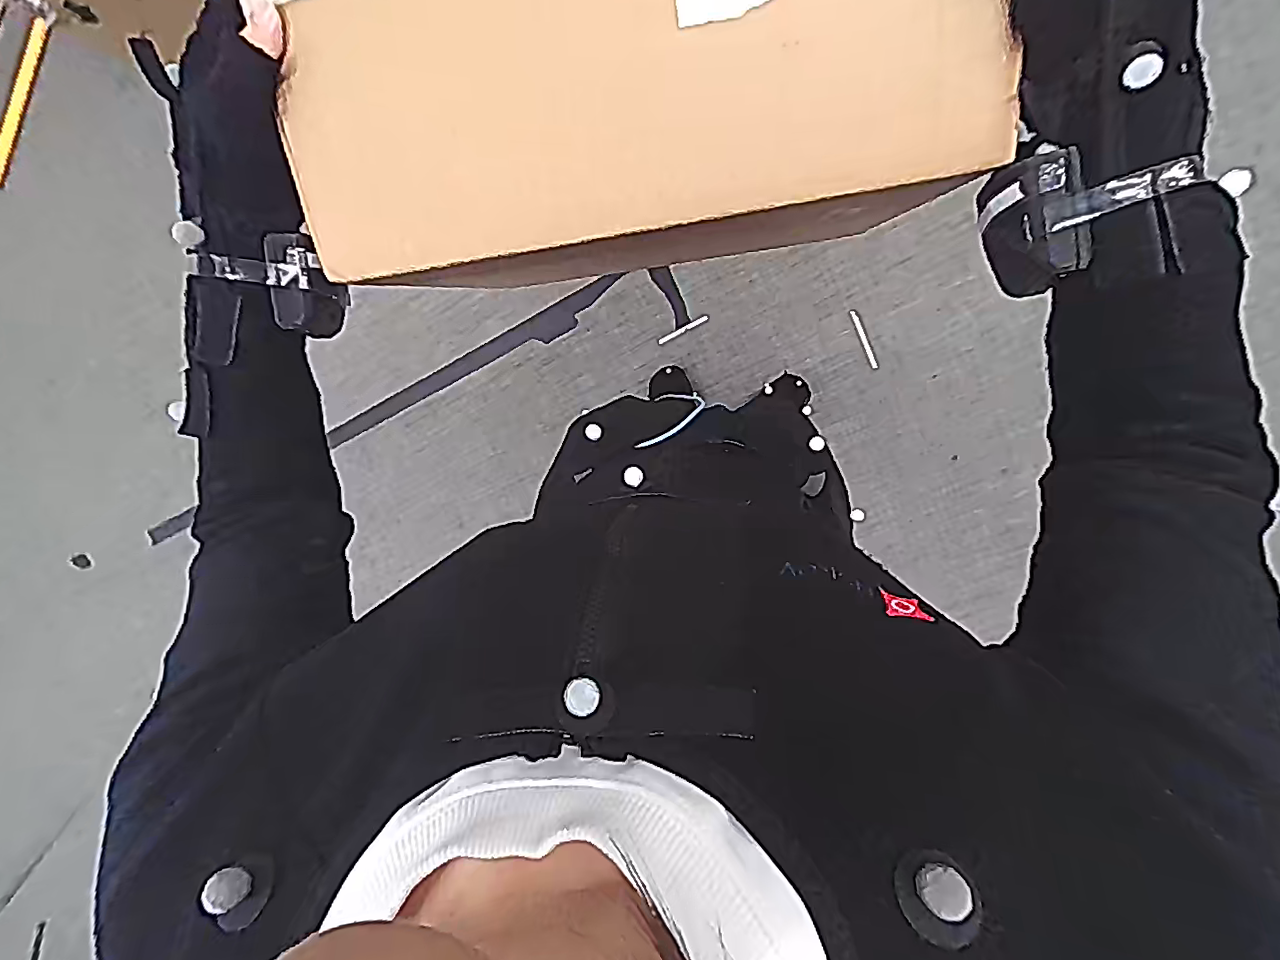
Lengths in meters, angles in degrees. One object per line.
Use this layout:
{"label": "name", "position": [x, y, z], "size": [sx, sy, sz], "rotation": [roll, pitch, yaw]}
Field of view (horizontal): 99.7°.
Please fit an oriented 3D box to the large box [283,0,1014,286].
{"label": "large box", "position": [0.002, -0.348, 0.423], "size": [0.408, 0.320, 0.320], "rotation": [-5, 108, 10]}
